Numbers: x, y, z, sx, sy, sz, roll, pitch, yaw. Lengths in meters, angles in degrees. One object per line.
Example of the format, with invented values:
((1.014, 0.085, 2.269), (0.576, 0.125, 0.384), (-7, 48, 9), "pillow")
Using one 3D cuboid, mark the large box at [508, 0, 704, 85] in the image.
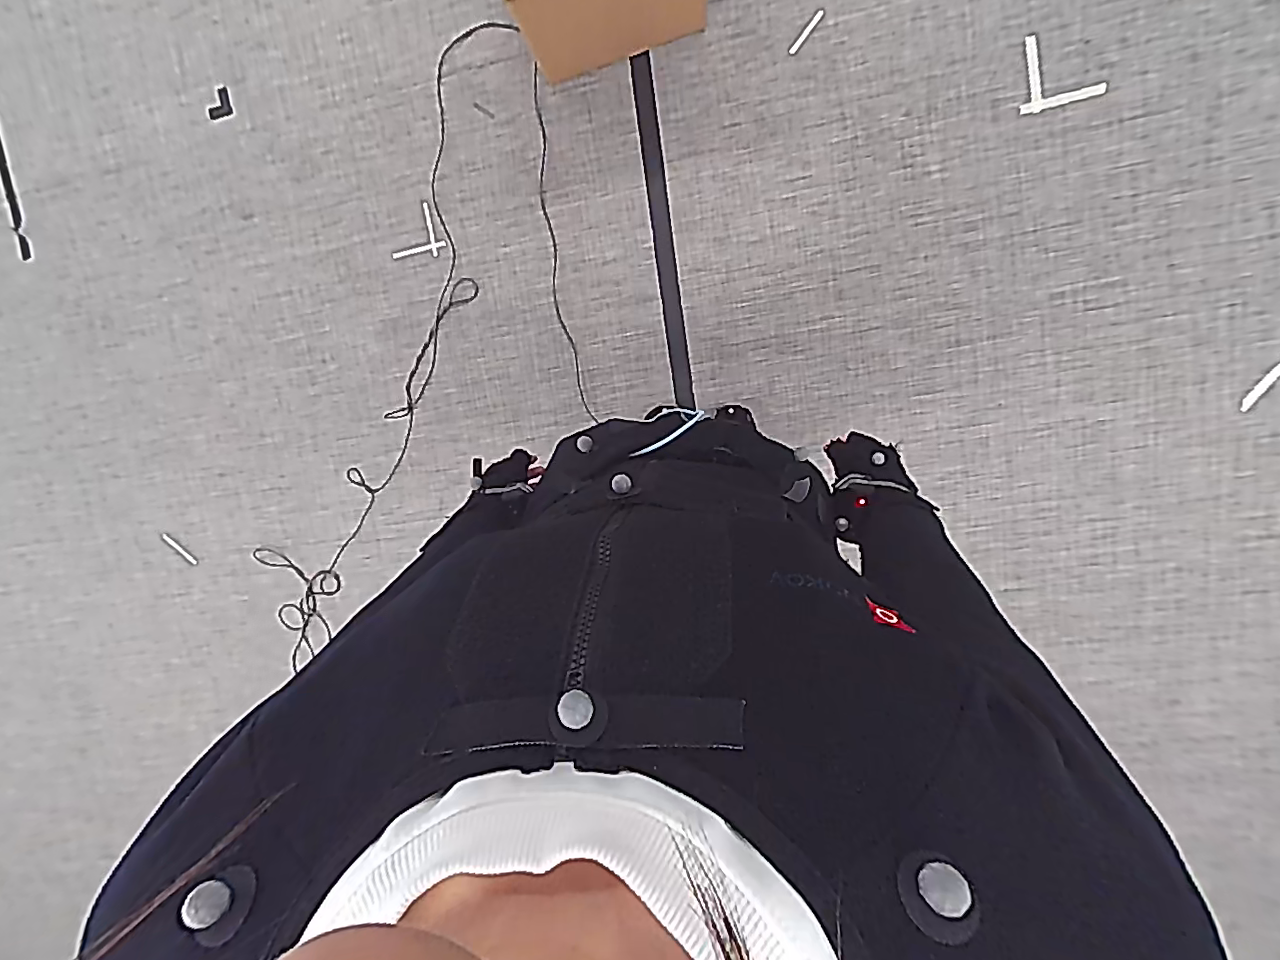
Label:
((-0.094, -1.141, 1.143), (0.408, 0.320, 0.320), (-14, 98, 8), "large box")
